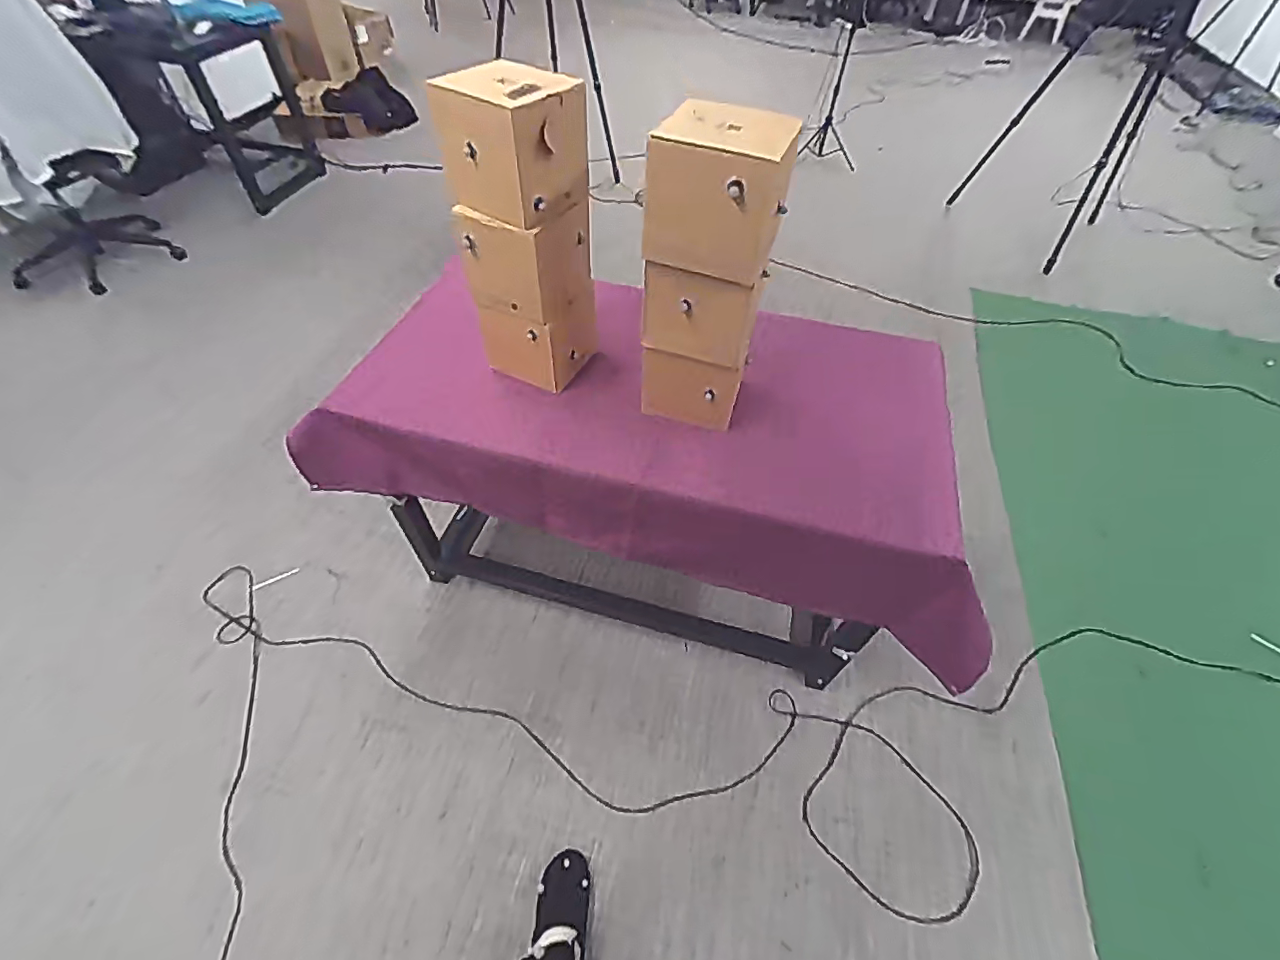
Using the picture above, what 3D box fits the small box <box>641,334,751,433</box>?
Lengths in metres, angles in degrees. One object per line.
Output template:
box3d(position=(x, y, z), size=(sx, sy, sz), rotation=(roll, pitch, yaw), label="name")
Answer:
box3d(position=(0.109, -0.216, 1.068), size=(0.179, 0.176, 0.168), rotation=(14, 50, 10), label="small box")

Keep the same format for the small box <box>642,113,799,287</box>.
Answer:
box3d(position=(0.113, -0.411, 0.802), size=(0.179, 0.176, 0.168), rotation=(19, 51, 12), label="small box")

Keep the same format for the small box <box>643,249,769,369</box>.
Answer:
box3d(position=(0.110, -0.316, 0.938), size=(0.179, 0.176, 0.168), rotation=(16, 51, 11), label="small box")

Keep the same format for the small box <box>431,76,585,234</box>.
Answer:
box3d(position=(-0.203, -0.528, 0.886), size=(0.179, 0.176, 0.168), rotation=(28, 54, 20), label="small box")

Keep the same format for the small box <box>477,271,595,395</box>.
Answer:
box3d(position=(-0.208, -0.303, 1.127), size=(0.179, 0.176, 0.168), rotation=(23, 53, 15), label="small box")
